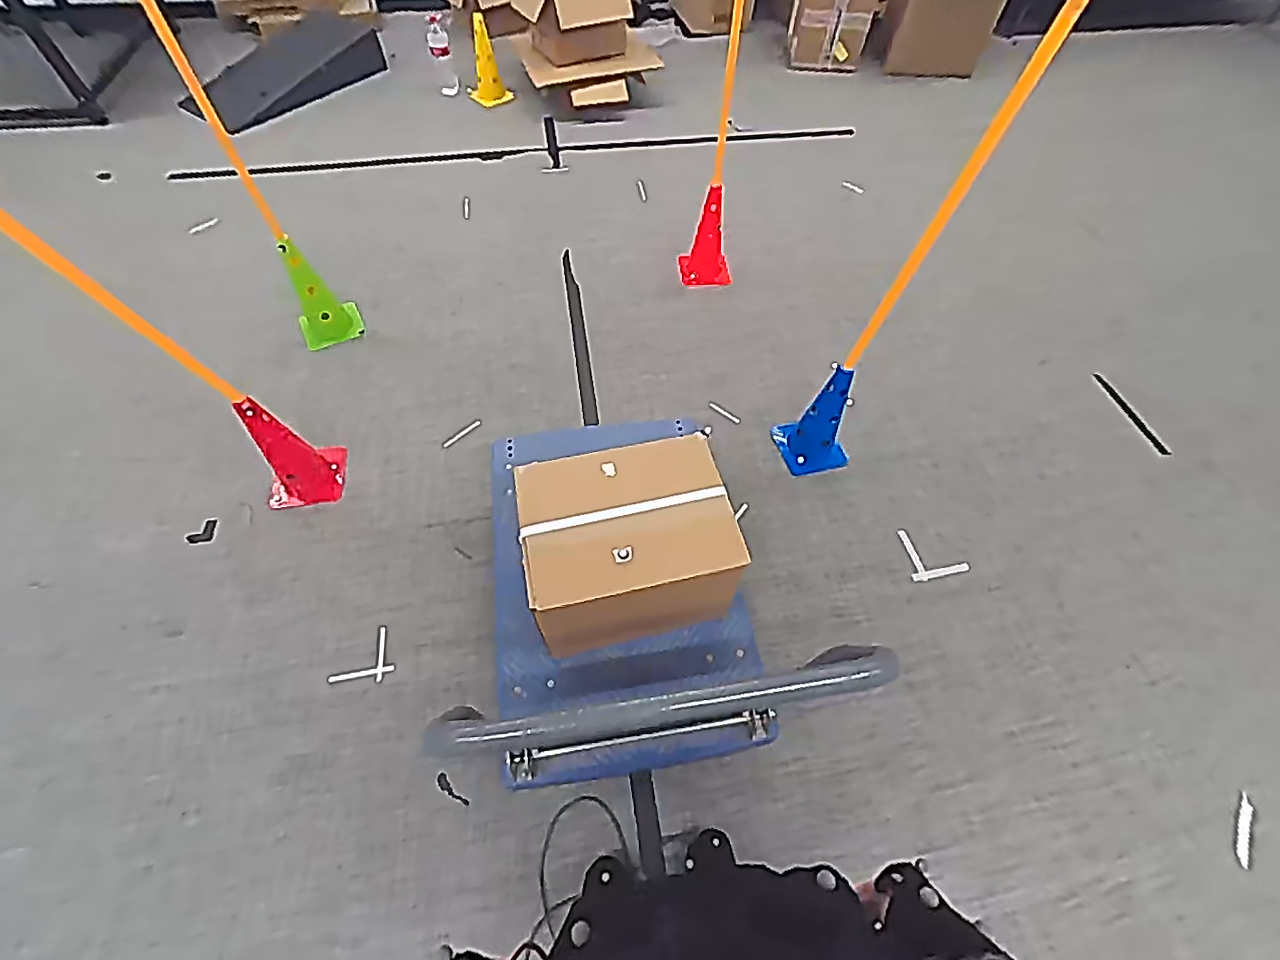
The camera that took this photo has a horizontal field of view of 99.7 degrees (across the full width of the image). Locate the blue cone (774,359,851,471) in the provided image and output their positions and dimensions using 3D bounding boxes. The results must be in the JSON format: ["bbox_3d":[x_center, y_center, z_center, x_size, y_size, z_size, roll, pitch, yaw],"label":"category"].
[{"bbox_3d":[0.553,-0.204,1.612,0.193,0.380,0.192,-11,57,-9],"label":"blue cone"}]

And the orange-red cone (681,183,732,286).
[{"bbox_3d":[0.277,-0.947,2.061,0.199,0.360,0.198,-1,58,-4],"label":"orange-red cone"}]
